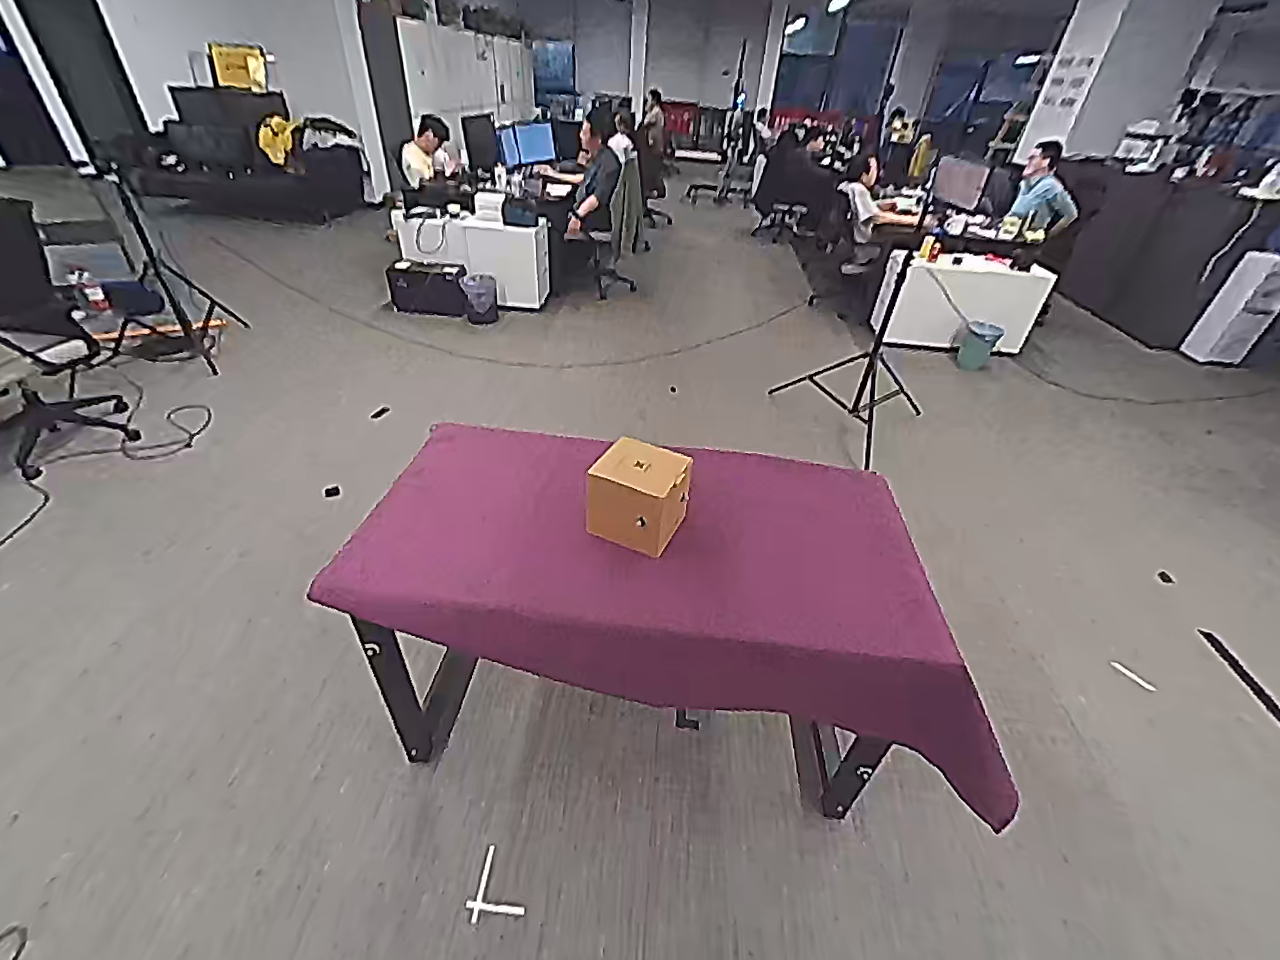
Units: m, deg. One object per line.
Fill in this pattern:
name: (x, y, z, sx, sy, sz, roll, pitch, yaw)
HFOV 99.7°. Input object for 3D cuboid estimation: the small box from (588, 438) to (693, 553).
small box: (0.000, 0.036, 1.183, 0.179, 0.176, 0.168, 17, 38, 19)
